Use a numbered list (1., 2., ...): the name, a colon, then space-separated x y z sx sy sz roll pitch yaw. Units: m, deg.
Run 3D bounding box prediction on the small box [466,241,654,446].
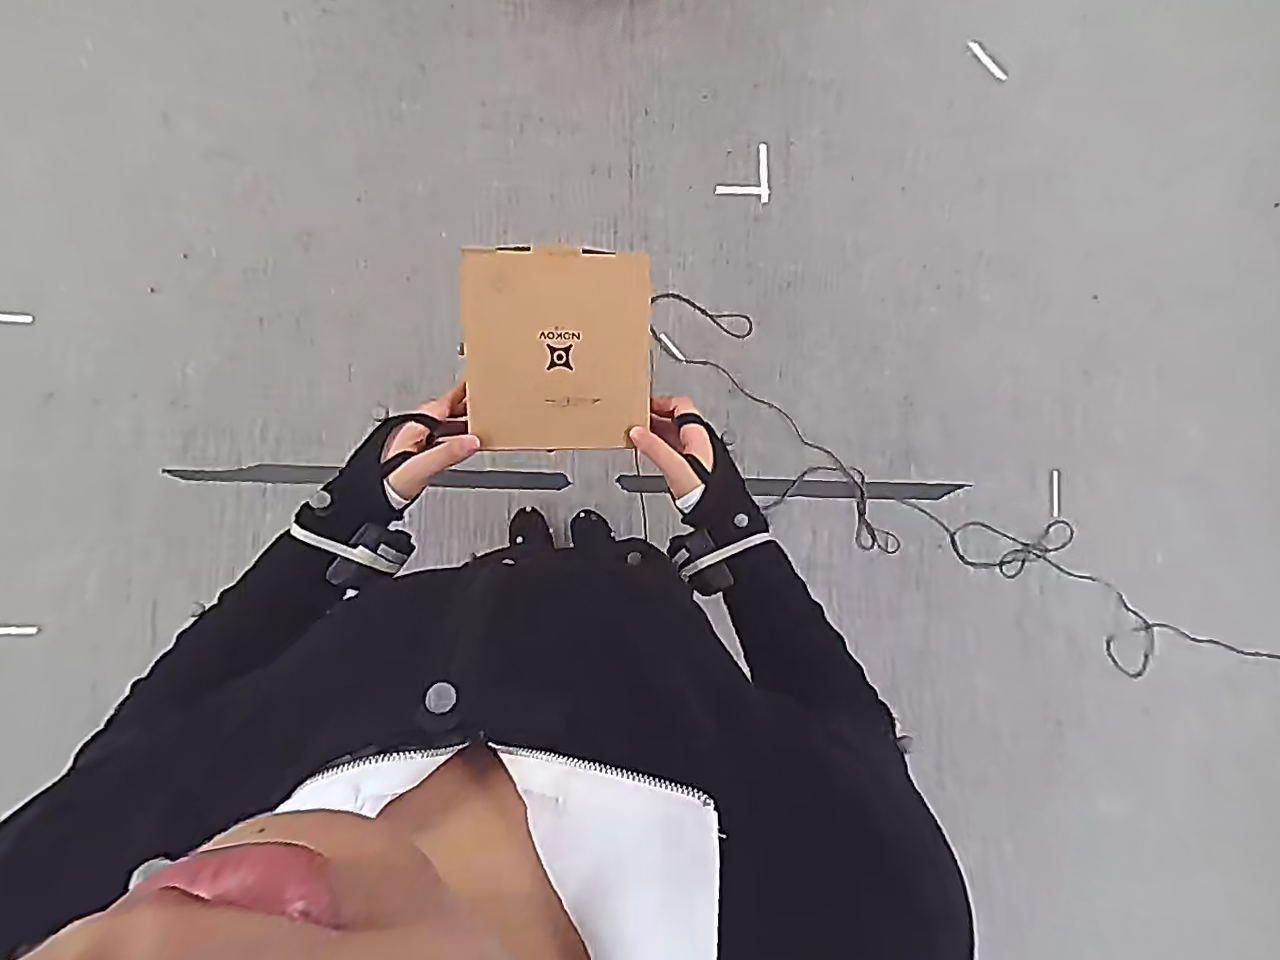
1. small box: -0.081 -0.130 0.559 0.168 0.176 0.179 -1 101 -8
